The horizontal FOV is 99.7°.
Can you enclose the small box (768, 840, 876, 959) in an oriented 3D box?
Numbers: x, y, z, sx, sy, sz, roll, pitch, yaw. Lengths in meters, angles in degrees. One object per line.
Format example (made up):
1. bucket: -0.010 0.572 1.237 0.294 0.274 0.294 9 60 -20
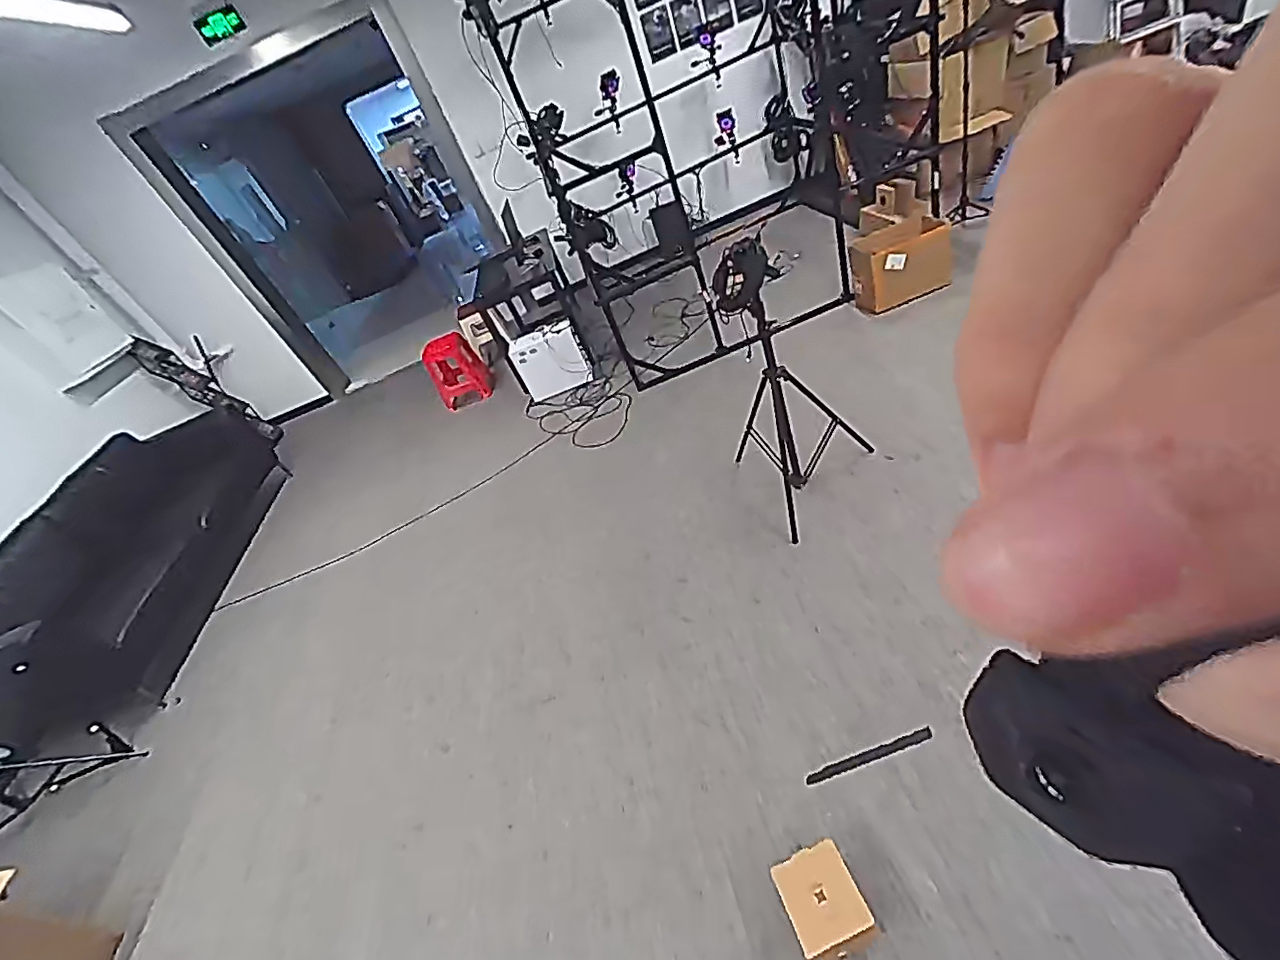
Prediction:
1. small box: 0.420 0.984 1.250 0.168 0.176 0.179 -27 37 -1
